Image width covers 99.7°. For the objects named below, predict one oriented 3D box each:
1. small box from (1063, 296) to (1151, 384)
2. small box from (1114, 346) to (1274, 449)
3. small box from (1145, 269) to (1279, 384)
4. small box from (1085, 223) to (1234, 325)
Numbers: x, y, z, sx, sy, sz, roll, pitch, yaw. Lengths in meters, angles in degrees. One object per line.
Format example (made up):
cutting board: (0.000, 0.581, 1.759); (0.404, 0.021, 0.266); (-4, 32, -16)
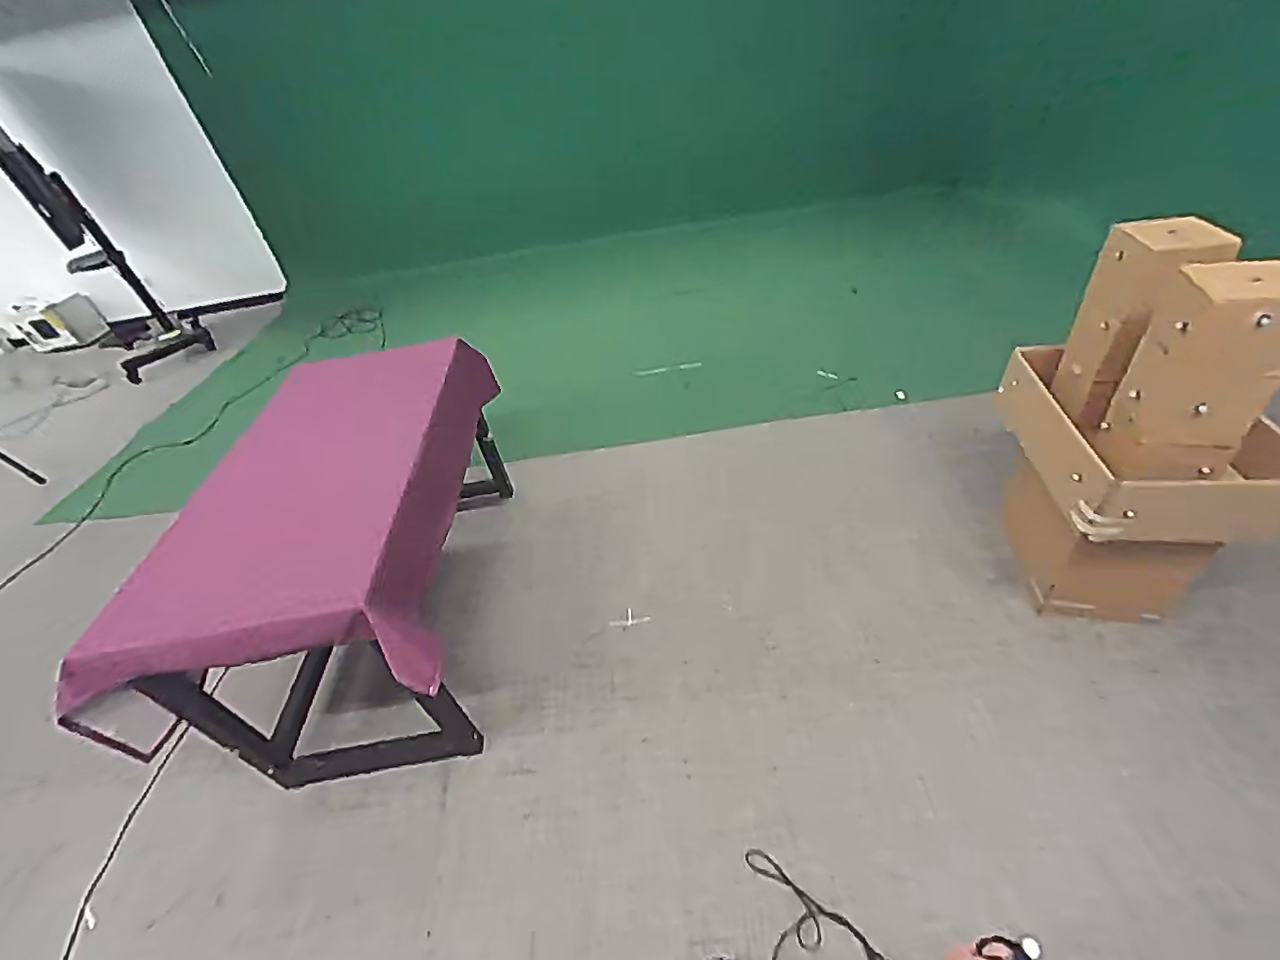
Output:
small box: (1.234, -0.364, 1.387); (0.168, 0.176, 0.179); (-2, 42, 11)
small box: (1.182, -0.180, 1.179); (0.179, 0.176, 0.168); (3, 42, 17)
small box: (1.159, -0.304, 1.074); (0.179, 0.176, 0.168); (5, 43, 17)
small box: (1.208, -0.486, 1.279); (0.168, 0.176, 0.179); (-2, 42, 11)
